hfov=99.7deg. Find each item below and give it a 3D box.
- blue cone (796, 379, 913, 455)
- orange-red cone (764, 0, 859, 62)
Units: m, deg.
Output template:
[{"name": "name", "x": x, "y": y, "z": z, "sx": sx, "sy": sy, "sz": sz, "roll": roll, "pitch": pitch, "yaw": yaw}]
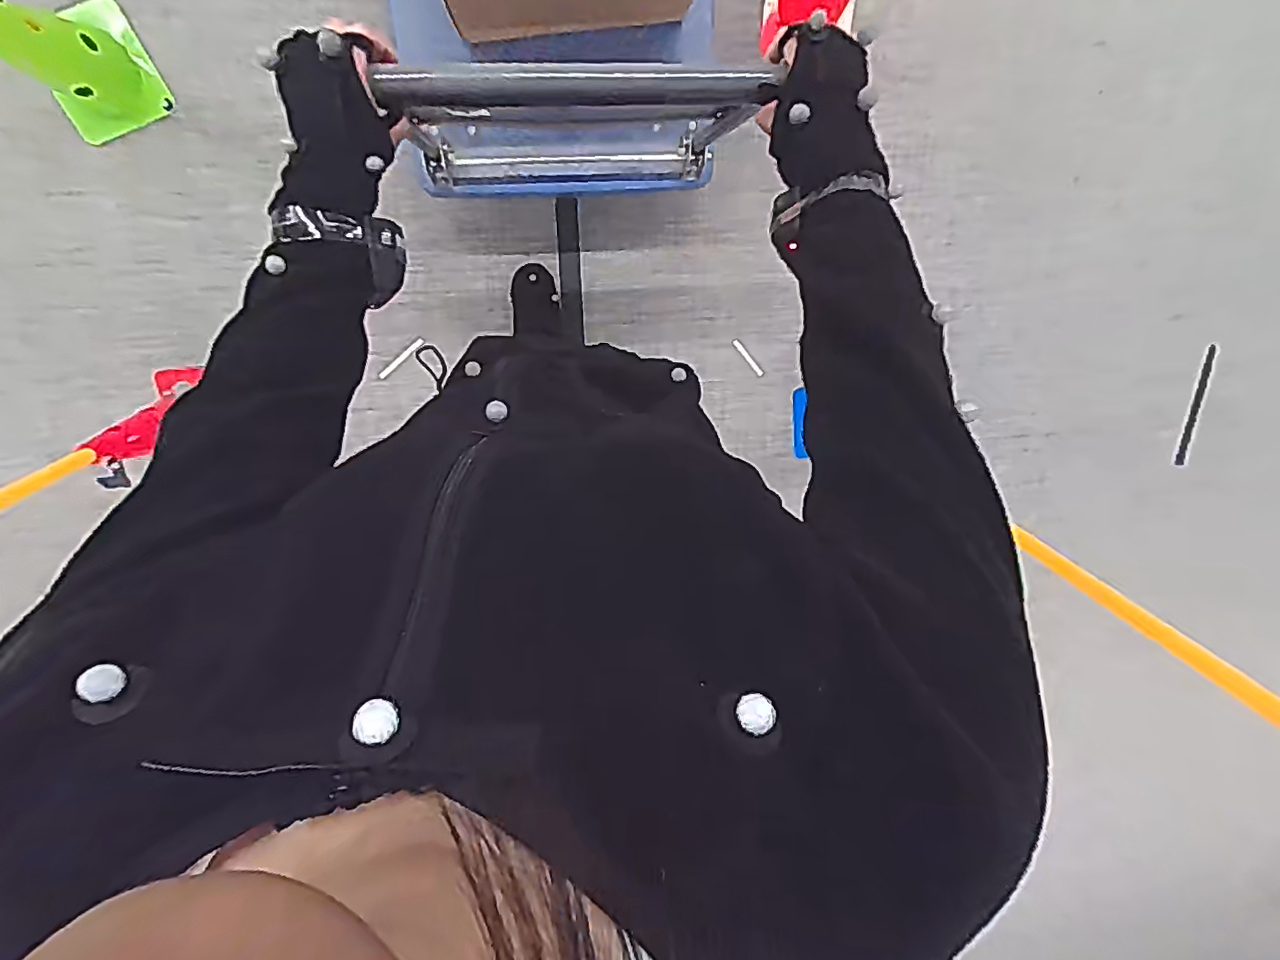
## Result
[{"name": "blue cone", "x": 0.541, "y": -0.120, "z": 1.321, "sx": 0.193, "sy": 0.380, "sz": 0.192, "roll": -8, "pitch": 110, "yaw": -5}, {"name": "orange-red cone", "x": 0.392, "y": -0.952, "z": 0.982, "sx": 0.199, "sy": 0.360, "sz": 0.198, "roll": 2, "pitch": 110, "yaw": -9}]
